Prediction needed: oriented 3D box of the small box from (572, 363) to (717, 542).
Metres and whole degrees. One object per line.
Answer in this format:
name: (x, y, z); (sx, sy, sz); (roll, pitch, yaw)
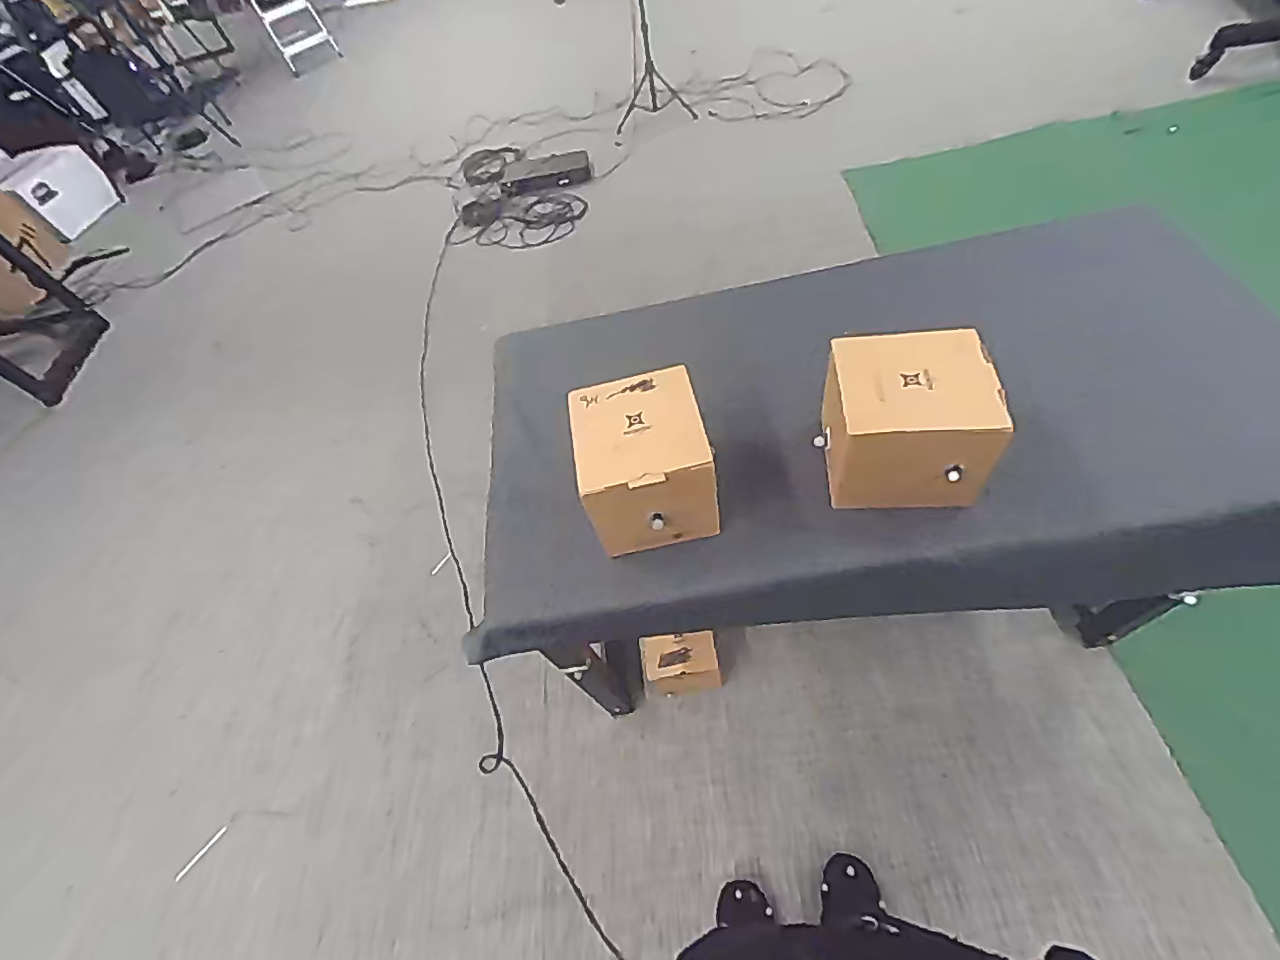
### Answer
small box: (0.009, -0.028, 0.753); (0.168, 0.176, 0.179); (-12, 55, 3)

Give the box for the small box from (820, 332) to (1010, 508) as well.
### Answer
small box: (0.346, -0.073, 0.720); (0.179, 0.176, 0.168); (-2, 56, 11)
